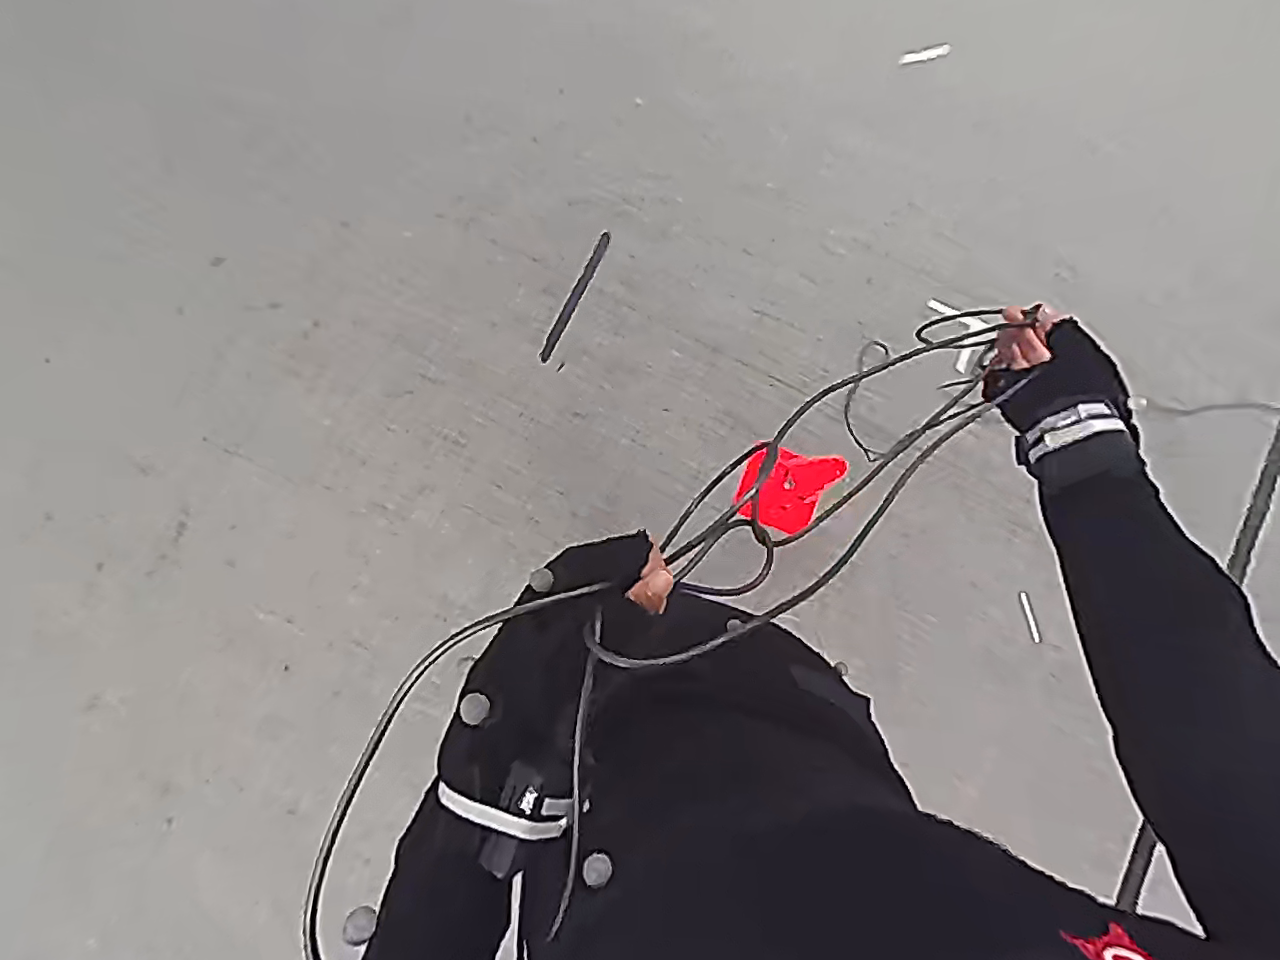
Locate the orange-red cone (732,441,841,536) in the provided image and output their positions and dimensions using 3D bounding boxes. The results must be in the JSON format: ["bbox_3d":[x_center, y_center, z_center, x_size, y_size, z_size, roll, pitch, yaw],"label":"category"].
[{"bbox_3d":[0.350,-0.002,1.169,0.198,0.360,0.199,22,83,1],"label":"orange-red cone"}]
